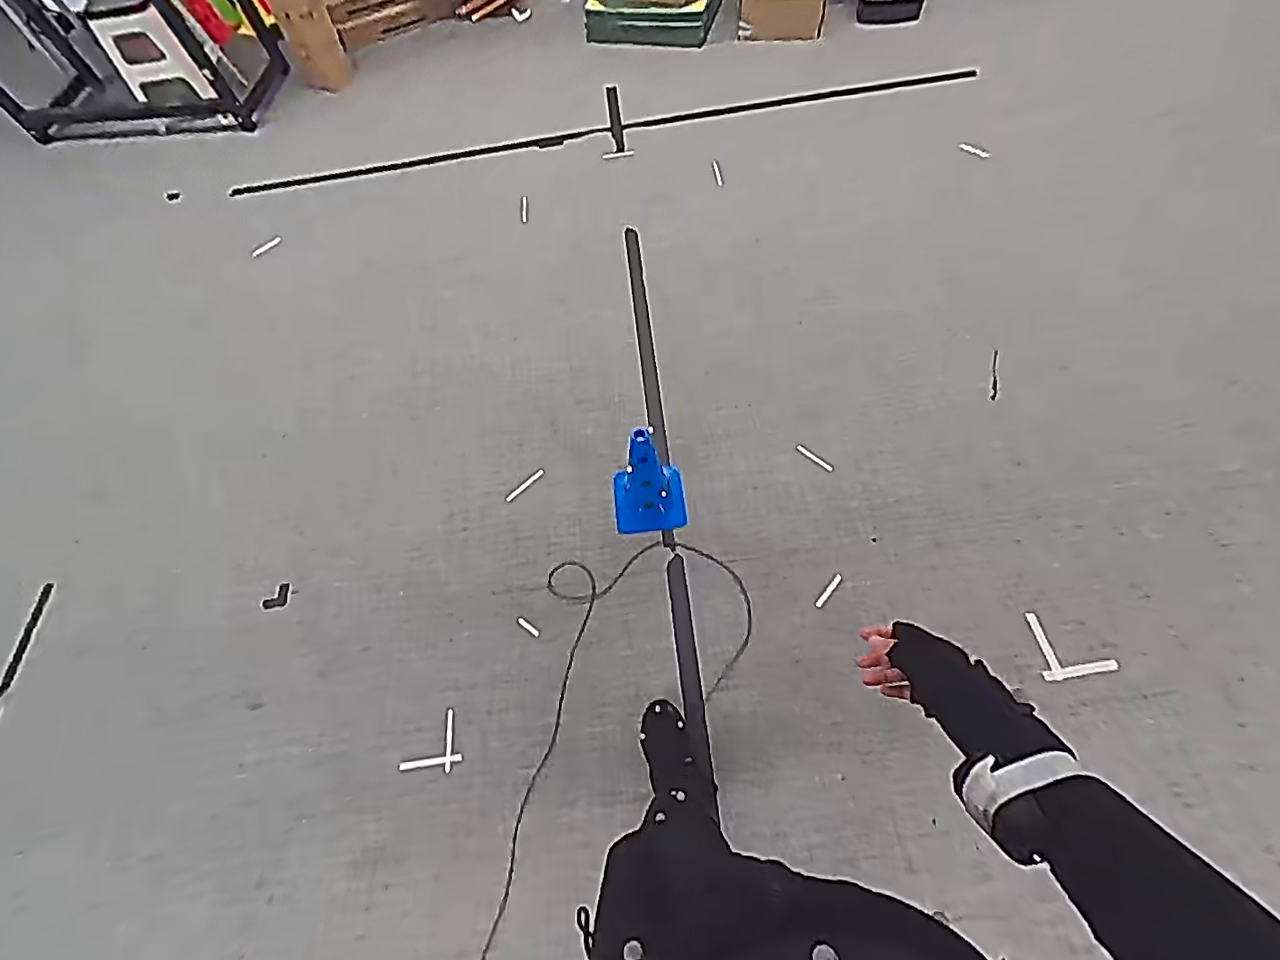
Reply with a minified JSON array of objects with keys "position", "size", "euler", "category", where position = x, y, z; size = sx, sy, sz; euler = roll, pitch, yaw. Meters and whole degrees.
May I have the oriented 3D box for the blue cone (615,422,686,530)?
[{"position":[0.014,-0.026,1.392],"size":[0.193,0.380,0.192],"euler":[-9,63,2],"category":"blue cone"}]
